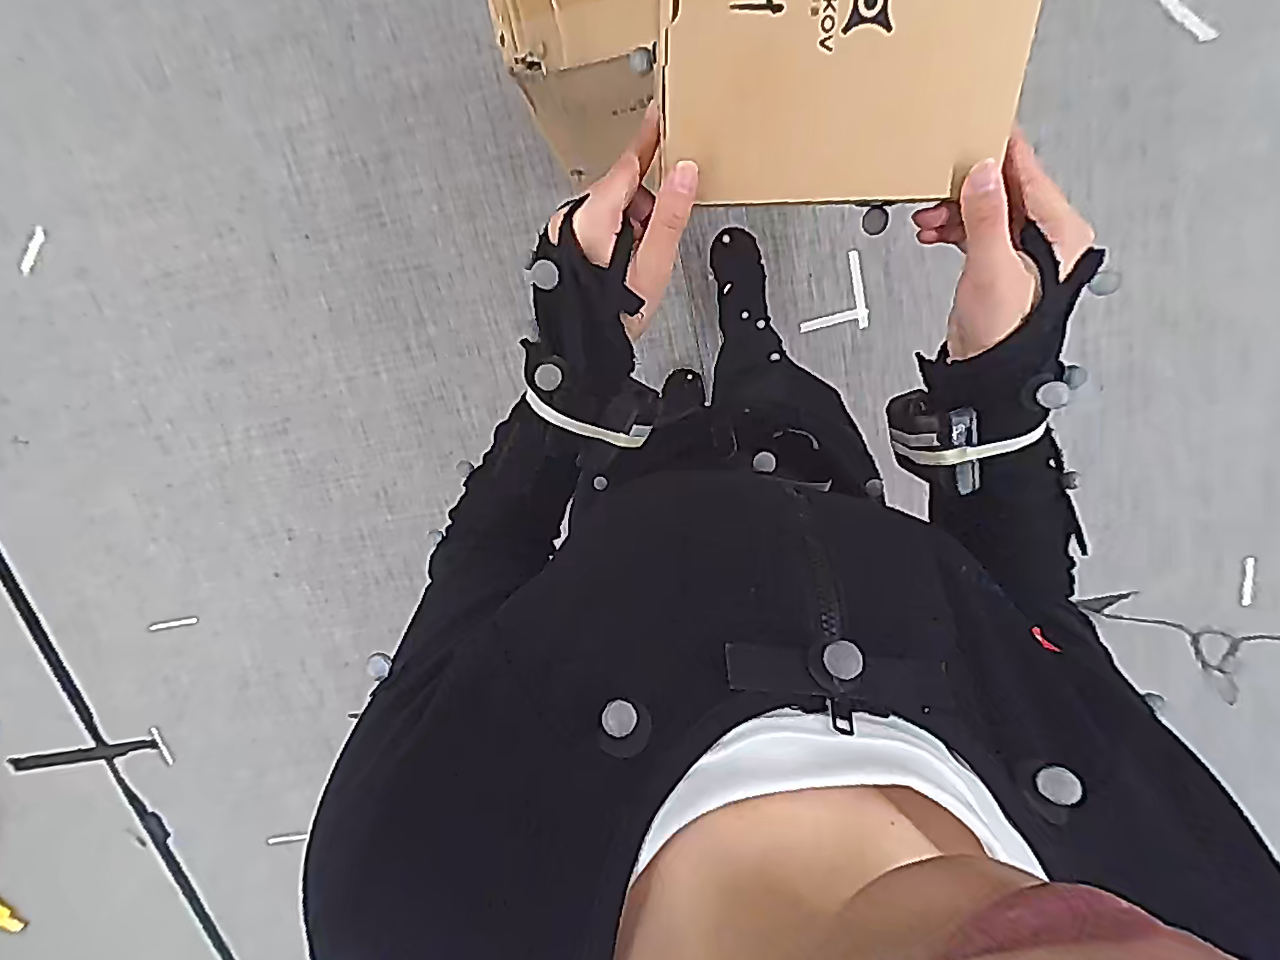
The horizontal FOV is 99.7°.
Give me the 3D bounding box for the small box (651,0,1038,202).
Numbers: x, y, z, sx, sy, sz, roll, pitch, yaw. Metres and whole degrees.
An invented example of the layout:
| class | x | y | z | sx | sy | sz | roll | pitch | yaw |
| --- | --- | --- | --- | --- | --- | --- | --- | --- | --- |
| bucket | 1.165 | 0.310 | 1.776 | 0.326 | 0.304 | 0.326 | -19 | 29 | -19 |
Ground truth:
| class | x | y | z | sx | sy | sz | roll | pitch | yaw |
| --- | --- | --- | --- | --- | --- | --- | --- | --- | --- |
| small box | 0.096 | -0.259 | 0.316 | 0.179 | 0.176 | 0.168 | -1 | 116 | 1 |
